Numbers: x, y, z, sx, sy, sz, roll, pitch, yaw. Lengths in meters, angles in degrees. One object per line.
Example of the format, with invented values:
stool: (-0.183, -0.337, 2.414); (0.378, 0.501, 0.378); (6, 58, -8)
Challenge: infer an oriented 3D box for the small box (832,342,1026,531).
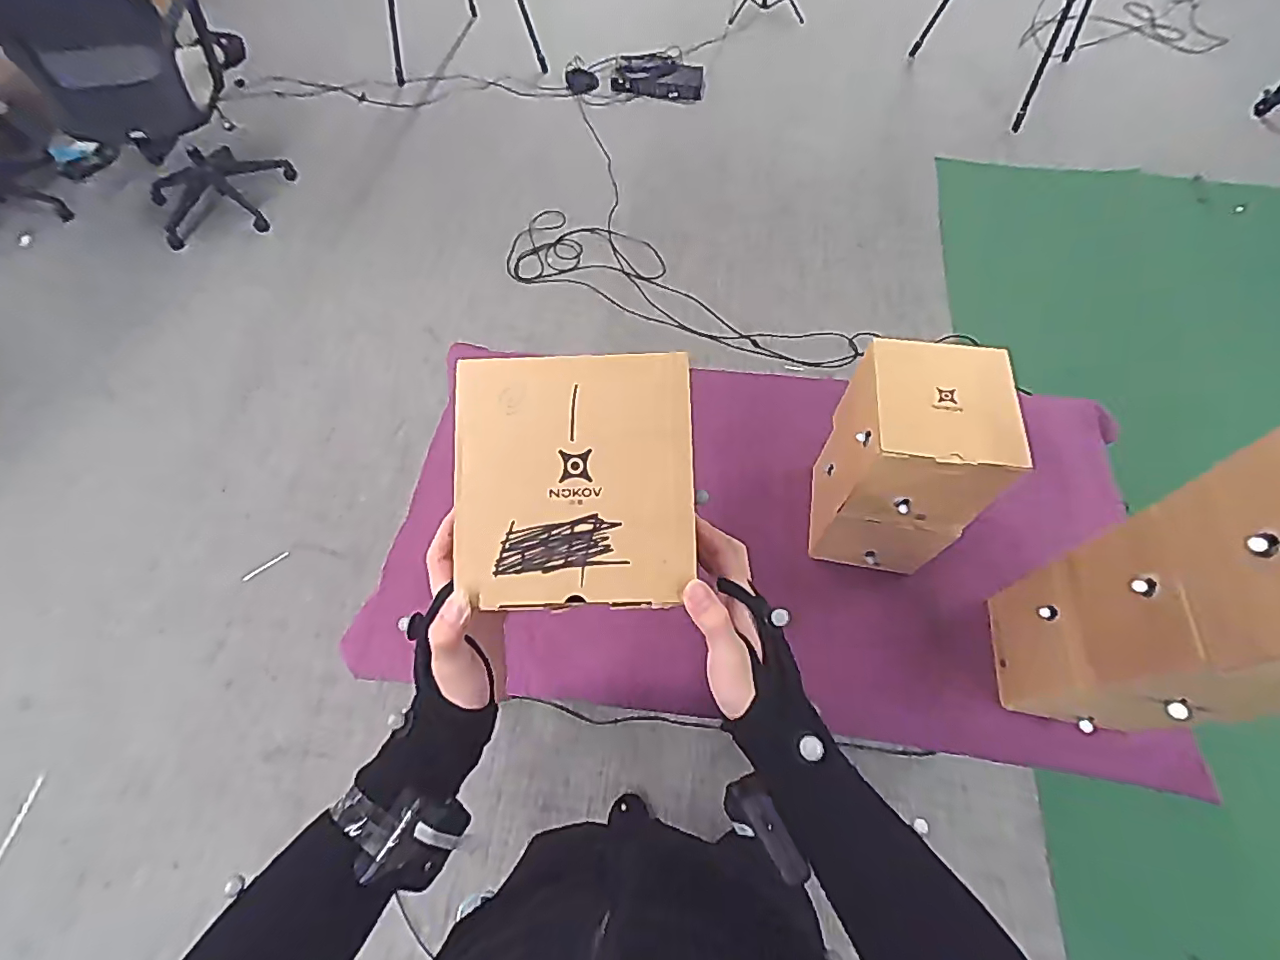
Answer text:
small box: (0.360, -0.052, 0.713); (0.168, 0.176, 0.179); (7, 62, 4)

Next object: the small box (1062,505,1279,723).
small box: (0.609, 0.151, 0.594); (0.168, 0.176, 0.179); (9, 61, 8)

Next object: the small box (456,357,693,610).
small box: (-0.043, 0.009, 0.454); (0.168, 0.176, 0.179); (-2, 83, 1)

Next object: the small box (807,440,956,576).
small box: (0.369, 0.031, 0.853); (0.168, 0.176, 0.179); (9, 62, 7)

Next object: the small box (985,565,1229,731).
small box: (0.610, 0.235, 0.735); (0.179, 0.176, 0.168); (9, 61, 6)
